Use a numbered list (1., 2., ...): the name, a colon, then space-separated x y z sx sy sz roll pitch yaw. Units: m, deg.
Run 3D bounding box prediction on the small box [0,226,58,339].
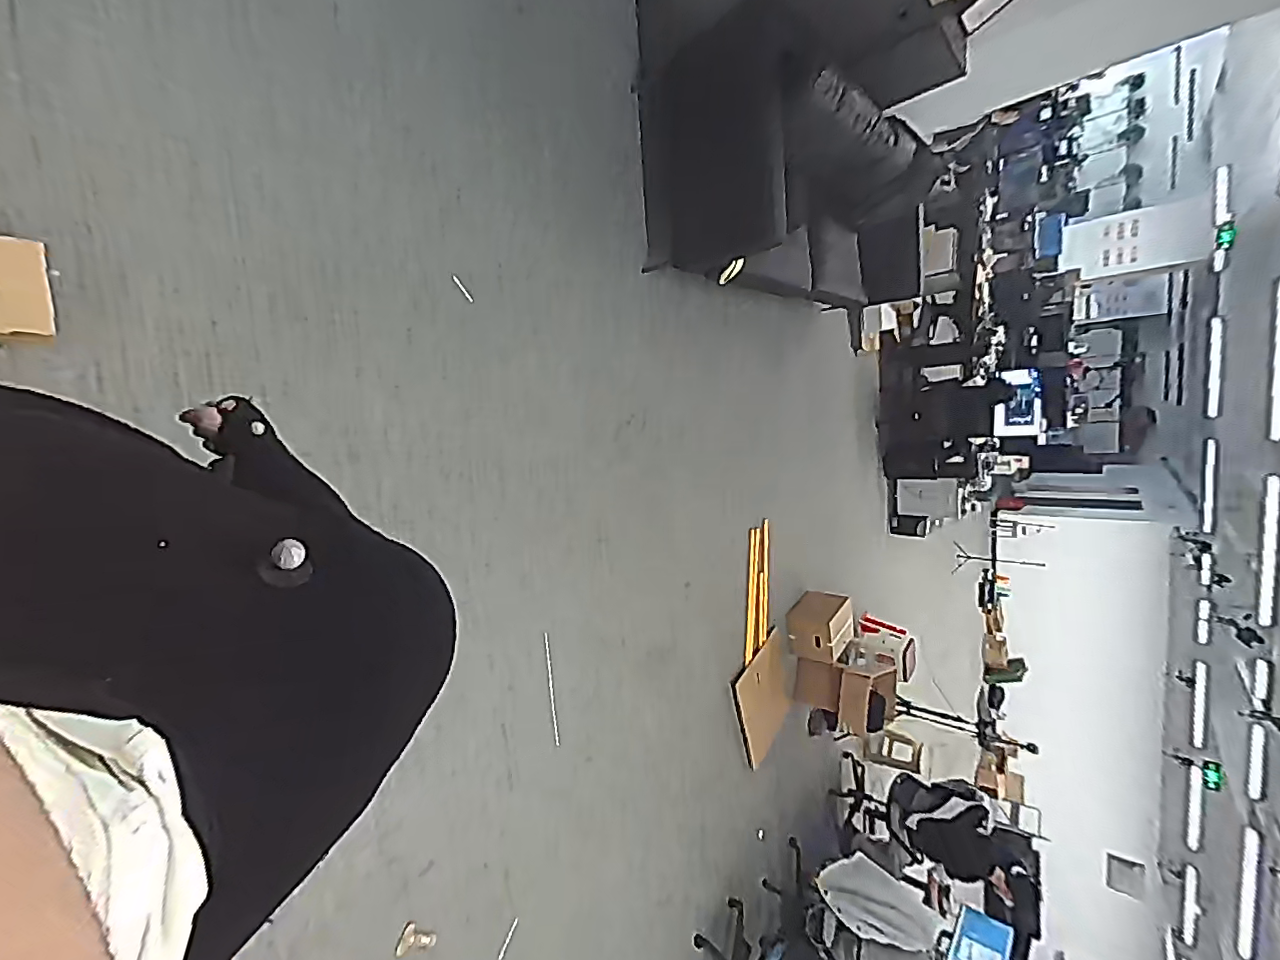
1. small box: -1.232 -0.373 1.018 0.168 0.176 0.179 -9 99 -48
